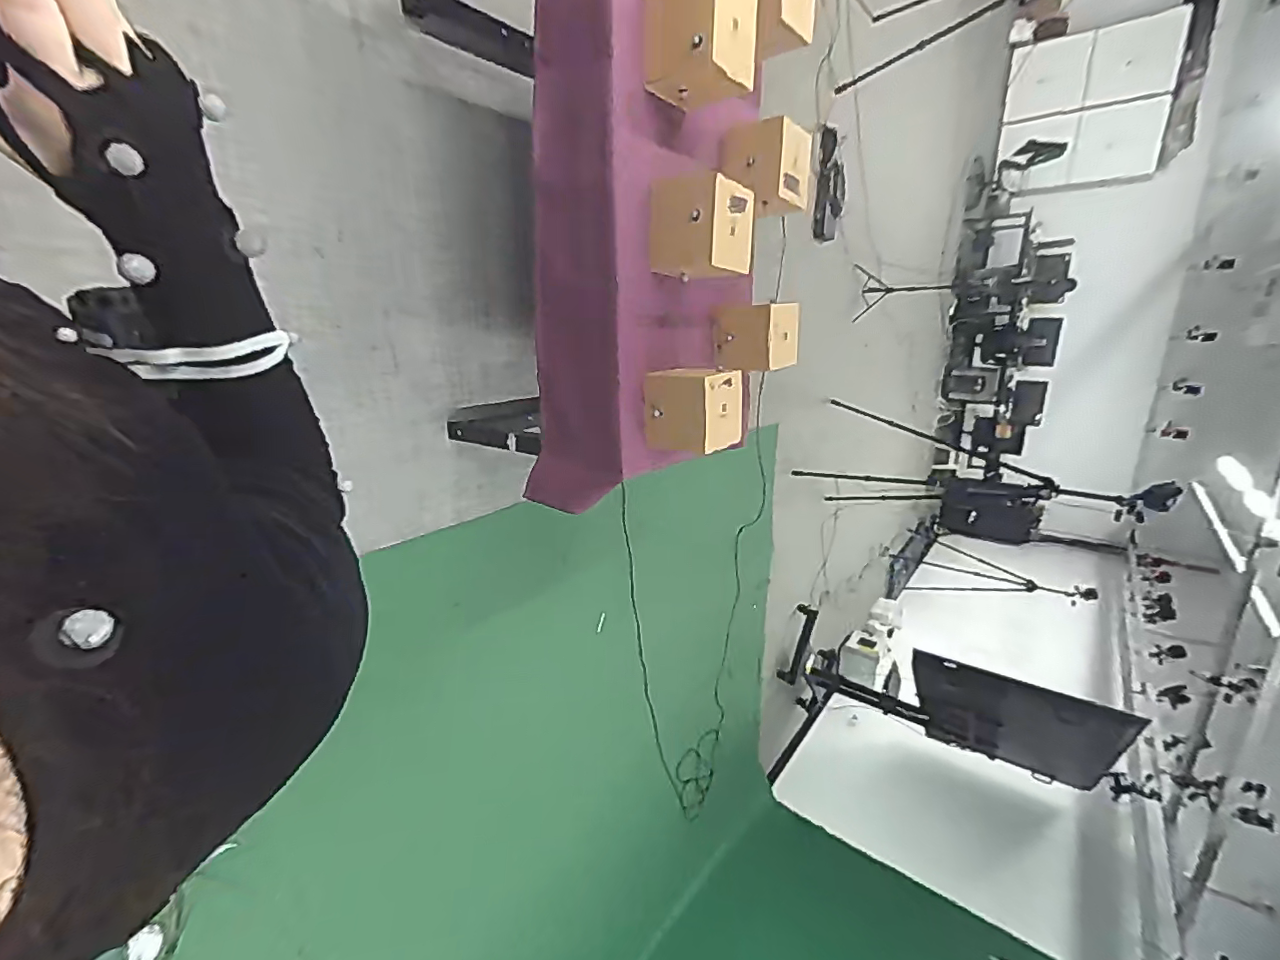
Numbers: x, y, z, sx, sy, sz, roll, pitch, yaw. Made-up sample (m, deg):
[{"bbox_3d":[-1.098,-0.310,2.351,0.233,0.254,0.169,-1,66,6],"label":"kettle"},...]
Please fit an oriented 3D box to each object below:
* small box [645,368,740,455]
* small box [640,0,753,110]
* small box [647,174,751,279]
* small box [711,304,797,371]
[{"bbox_3d":[0.123,-0.171,1.289,0.168,0.176,0.179,-22,116,-49],"label":"small box"},{"bbox_3d":[0.113,-0.886,1.091,0.168,0.176,0.179,-18,114,-49],"label":"small box"},{"bbox_3d":[0.129,-0.550,1.199,0.168,0.176,0.179,-15,112,-50],"label":"small box"},{"bbox_3d":[0.311,-0.394,1.474,0.179,0.176,0.168,-23,116,-47],"label":"small box"}]
